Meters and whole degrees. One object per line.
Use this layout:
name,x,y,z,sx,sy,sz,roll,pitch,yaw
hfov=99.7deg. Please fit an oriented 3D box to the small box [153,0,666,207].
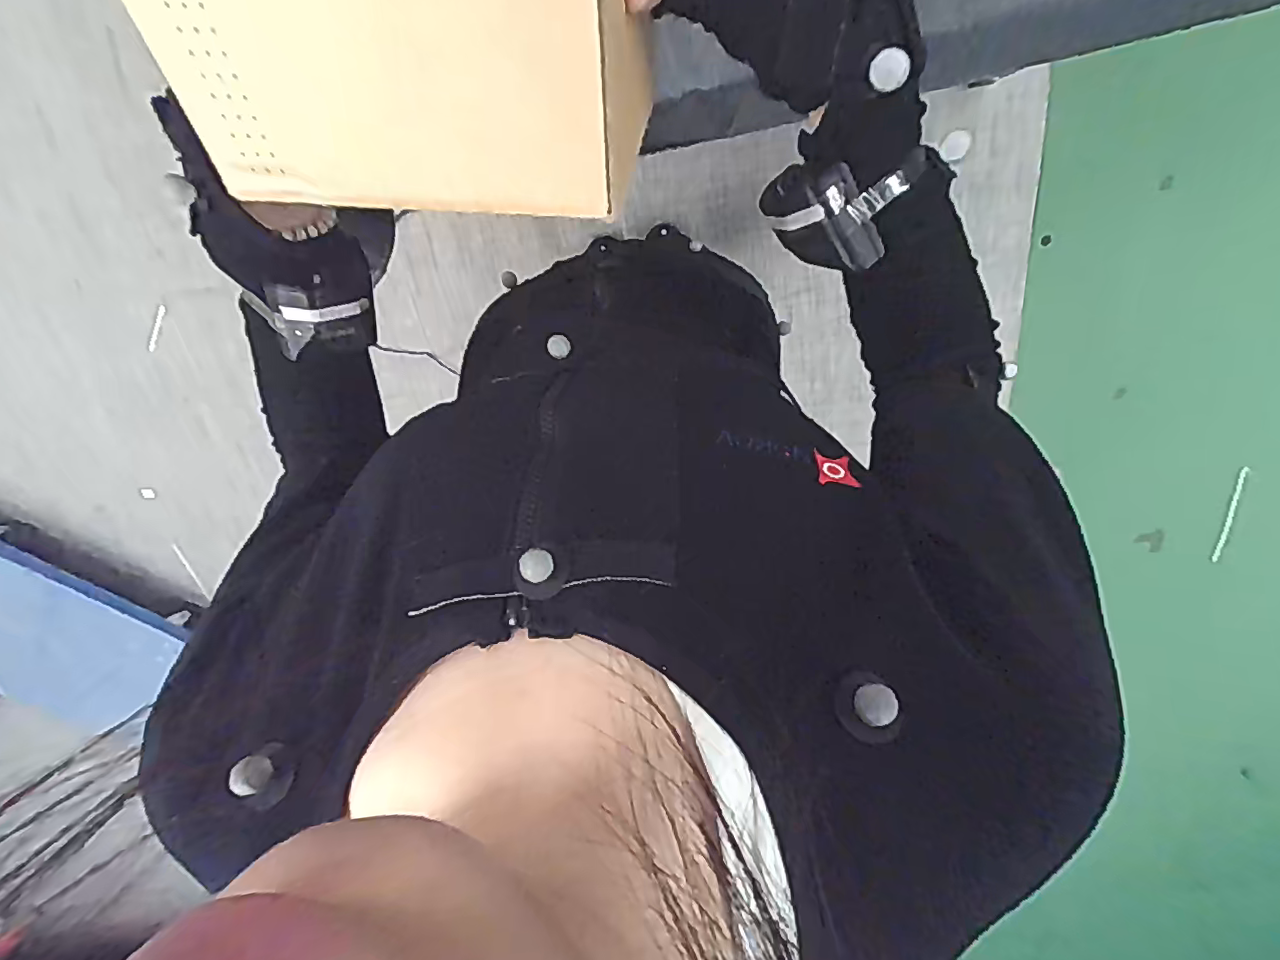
small box,-0.080,-0.234,0.214,0.176,0.168,0.179,4,139,5
